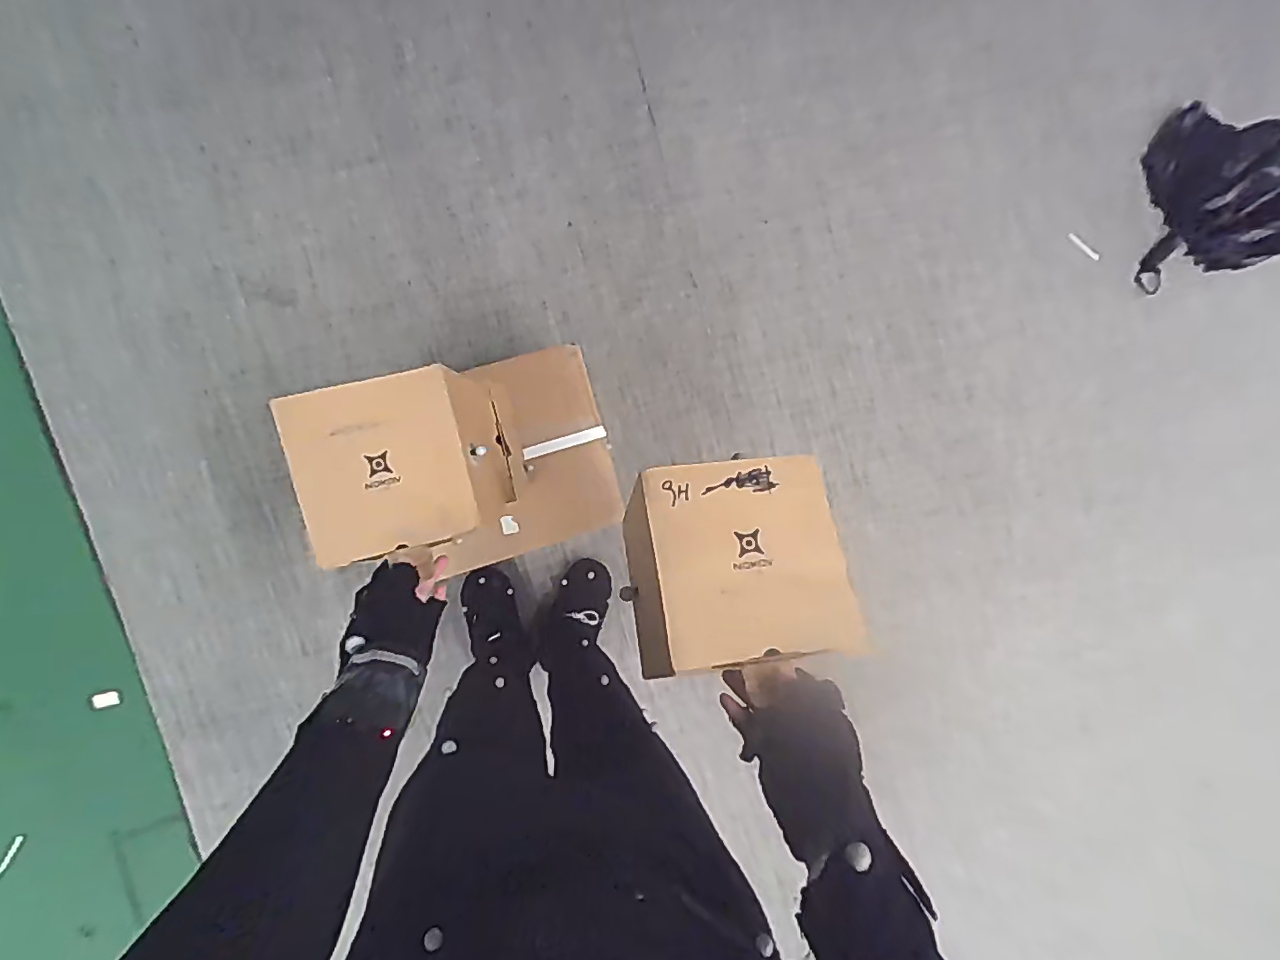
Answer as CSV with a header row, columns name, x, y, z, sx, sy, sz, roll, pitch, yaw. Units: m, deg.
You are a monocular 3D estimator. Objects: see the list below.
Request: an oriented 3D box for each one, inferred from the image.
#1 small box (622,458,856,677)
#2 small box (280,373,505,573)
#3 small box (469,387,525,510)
name,x,y,z,sx,sy,sz,roll,pitch,yaw
small box,0.080,0.094,0.539,0.168,0.176,0.179,-5,70,-11
small box,-0.261,-0.013,0.618,0.168,0.176,0.179,-13,95,-5
small box,-0.267,-0.036,0.777,0.179,0.176,0.168,-10,95,-5
